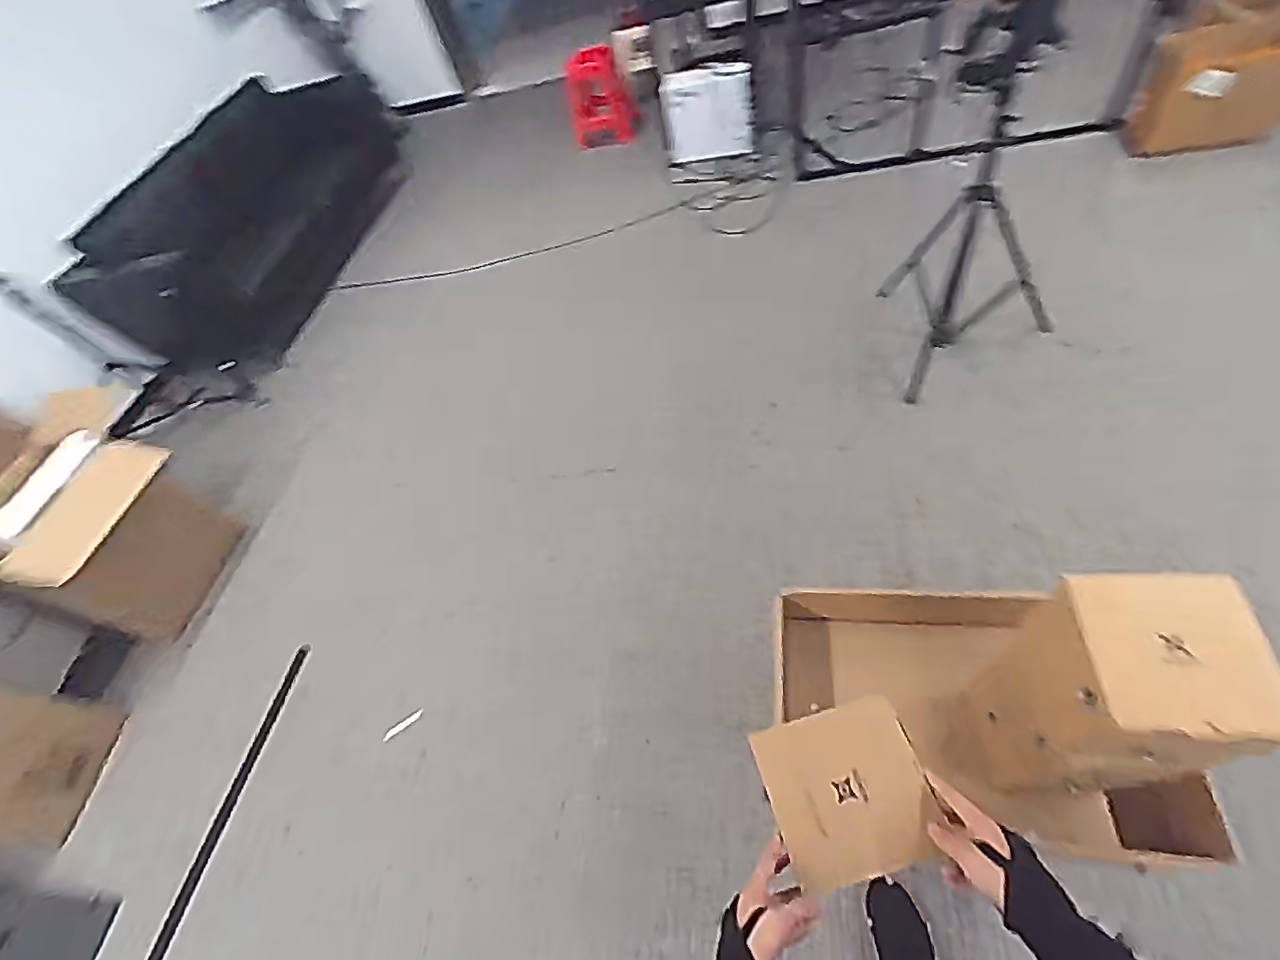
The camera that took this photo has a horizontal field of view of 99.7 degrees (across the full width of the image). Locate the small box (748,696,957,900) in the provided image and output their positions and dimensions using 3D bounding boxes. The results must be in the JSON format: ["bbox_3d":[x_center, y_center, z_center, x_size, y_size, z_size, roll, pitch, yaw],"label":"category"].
[{"bbox_3d":[0.243,0.386,0.671,0.179,0.176,0.168,-19,58,2],"label":"small box"}]

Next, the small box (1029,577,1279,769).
[{"bbox_3d":[0.601,0.230,0.646,0.168,0.176,0.179,-3,56,16],"label":"small box"}]
